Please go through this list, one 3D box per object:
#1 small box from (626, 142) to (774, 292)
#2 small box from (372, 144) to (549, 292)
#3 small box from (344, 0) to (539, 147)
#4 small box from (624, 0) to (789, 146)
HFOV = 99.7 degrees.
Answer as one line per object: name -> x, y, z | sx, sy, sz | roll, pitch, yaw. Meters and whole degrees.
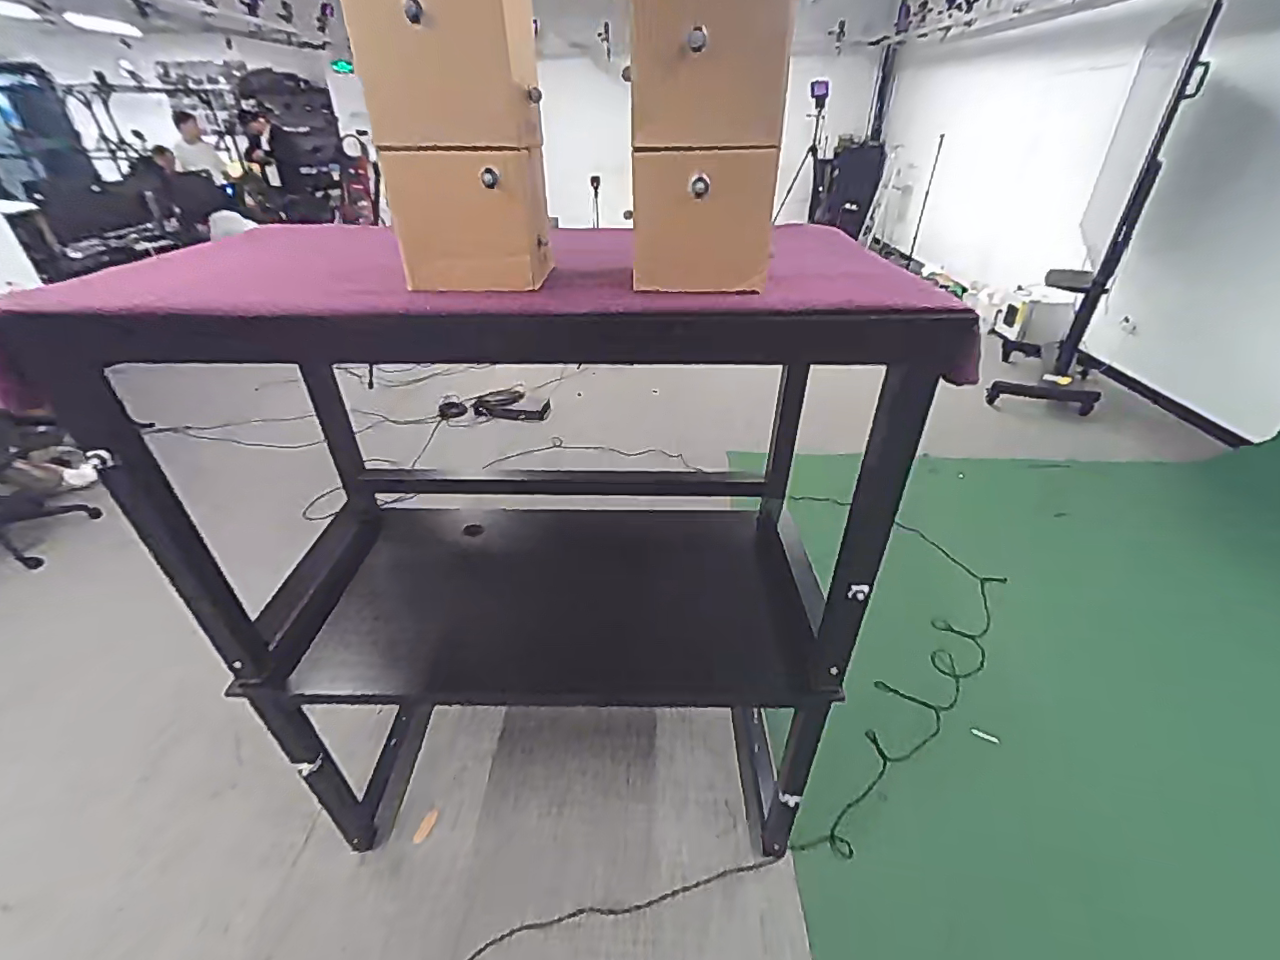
small box -> 0.078, -0.359, 0.734 | 0.179, 0.176, 0.168 | 2, 34, 4
small box -> -0.230, -0.362, 0.745 | 0.179, 0.176, 0.168 | 0, 33, 0
small box -> -0.230, -0.501, 0.656 | 0.179, 0.176, 0.168 | 1, 33, 1
small box -> 0.076, -0.495, 0.644 | 0.179, 0.176, 0.168 | 0, 34, 4
